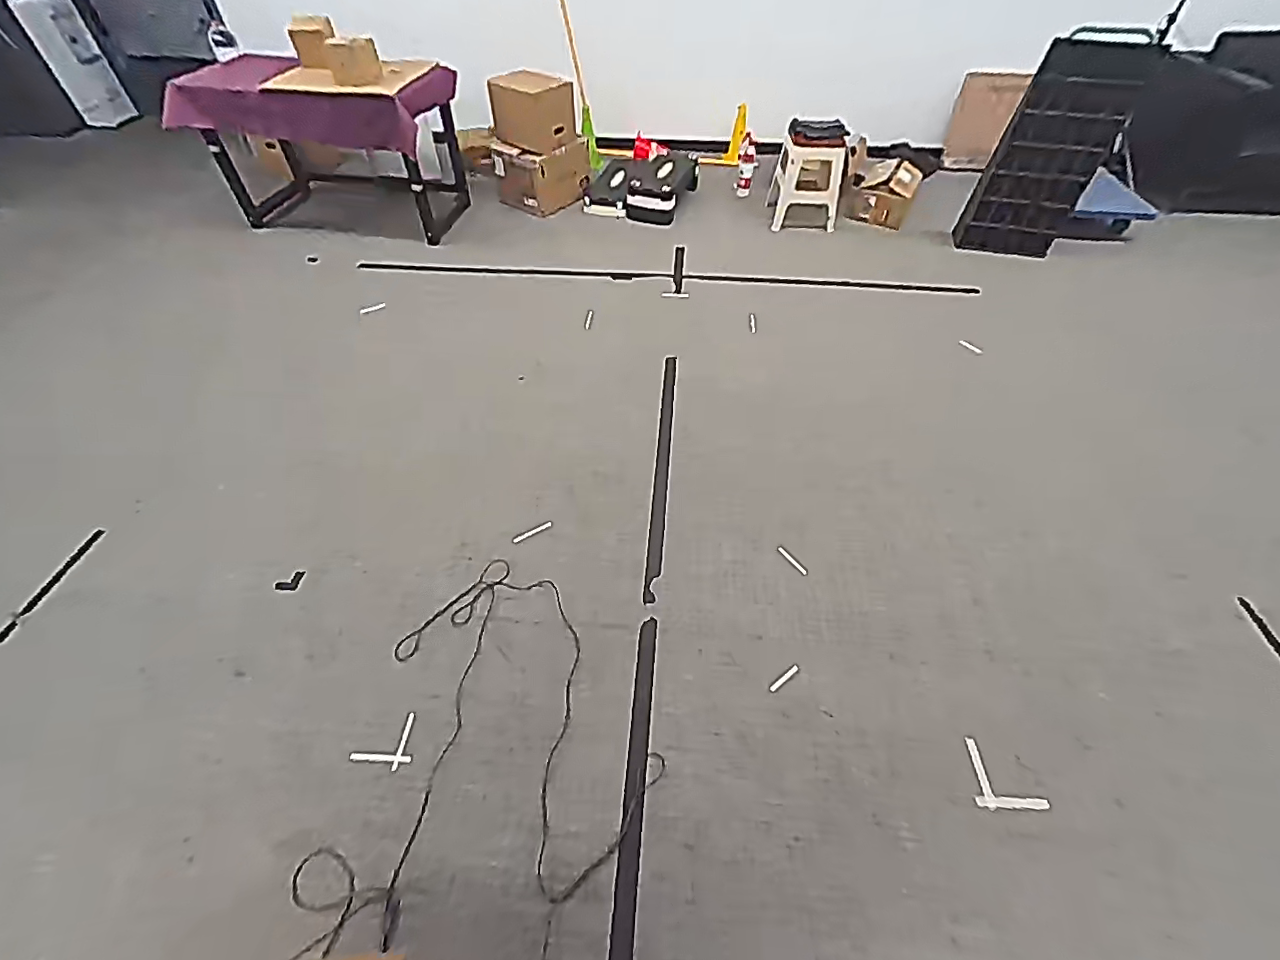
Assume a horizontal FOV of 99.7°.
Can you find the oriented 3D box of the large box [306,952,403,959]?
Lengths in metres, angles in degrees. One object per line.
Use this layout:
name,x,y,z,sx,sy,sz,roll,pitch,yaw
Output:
large box,-0.484,0.800,0.567,0.320,0.408,0.320,-6,74,-1
